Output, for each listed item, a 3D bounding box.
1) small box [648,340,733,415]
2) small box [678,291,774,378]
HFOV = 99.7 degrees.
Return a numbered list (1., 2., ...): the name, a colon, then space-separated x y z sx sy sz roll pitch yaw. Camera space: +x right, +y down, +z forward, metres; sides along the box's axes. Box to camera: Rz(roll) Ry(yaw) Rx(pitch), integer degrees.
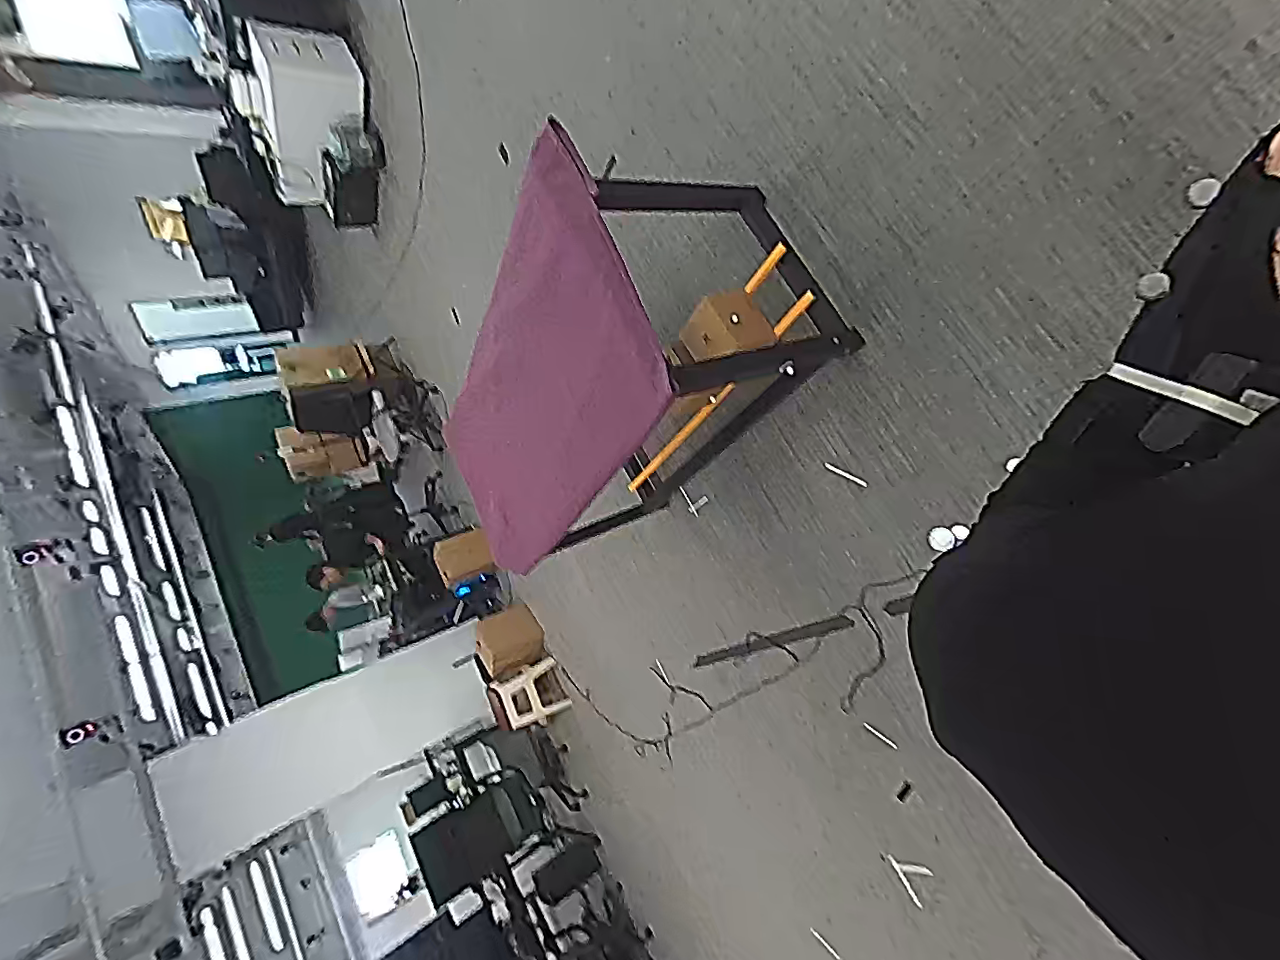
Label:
1. small box: 0.162 -0.338 1.728 0.179 0.176 0.168 59 146 12
2. small box: 0.248 -0.424 1.560 0.179 0.176 0.168 60 146 12
